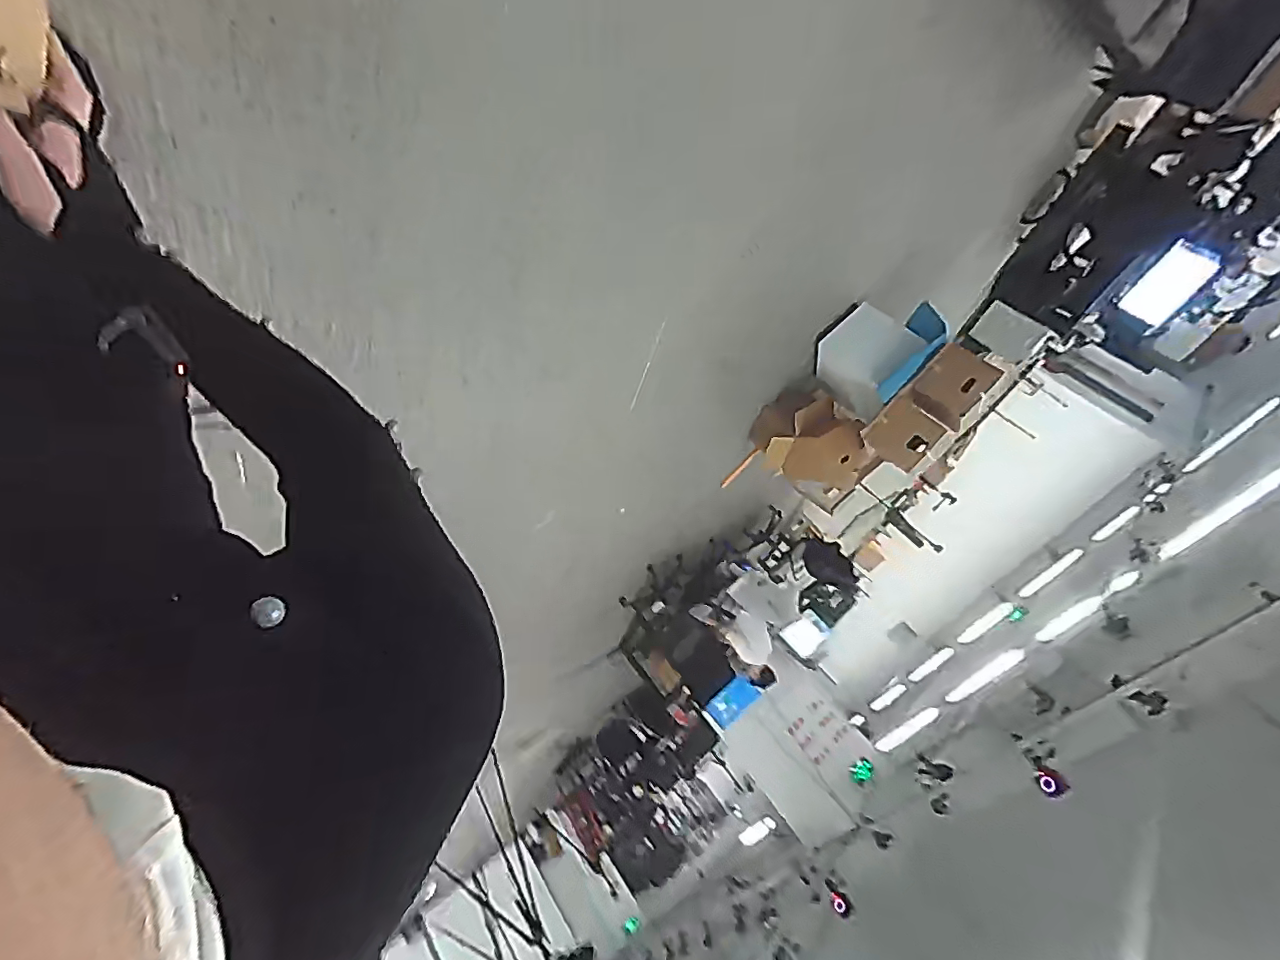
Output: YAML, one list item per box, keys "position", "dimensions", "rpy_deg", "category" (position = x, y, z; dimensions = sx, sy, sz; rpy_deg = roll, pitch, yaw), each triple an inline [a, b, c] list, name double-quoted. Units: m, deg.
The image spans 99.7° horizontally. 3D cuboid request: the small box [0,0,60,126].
- position: [-0.540, -0.377, 0.370]
  dimensions: [0.168, 0.176, 0.179]
  rpy_deg: [-8, 116, -58]
  category: "small box"
